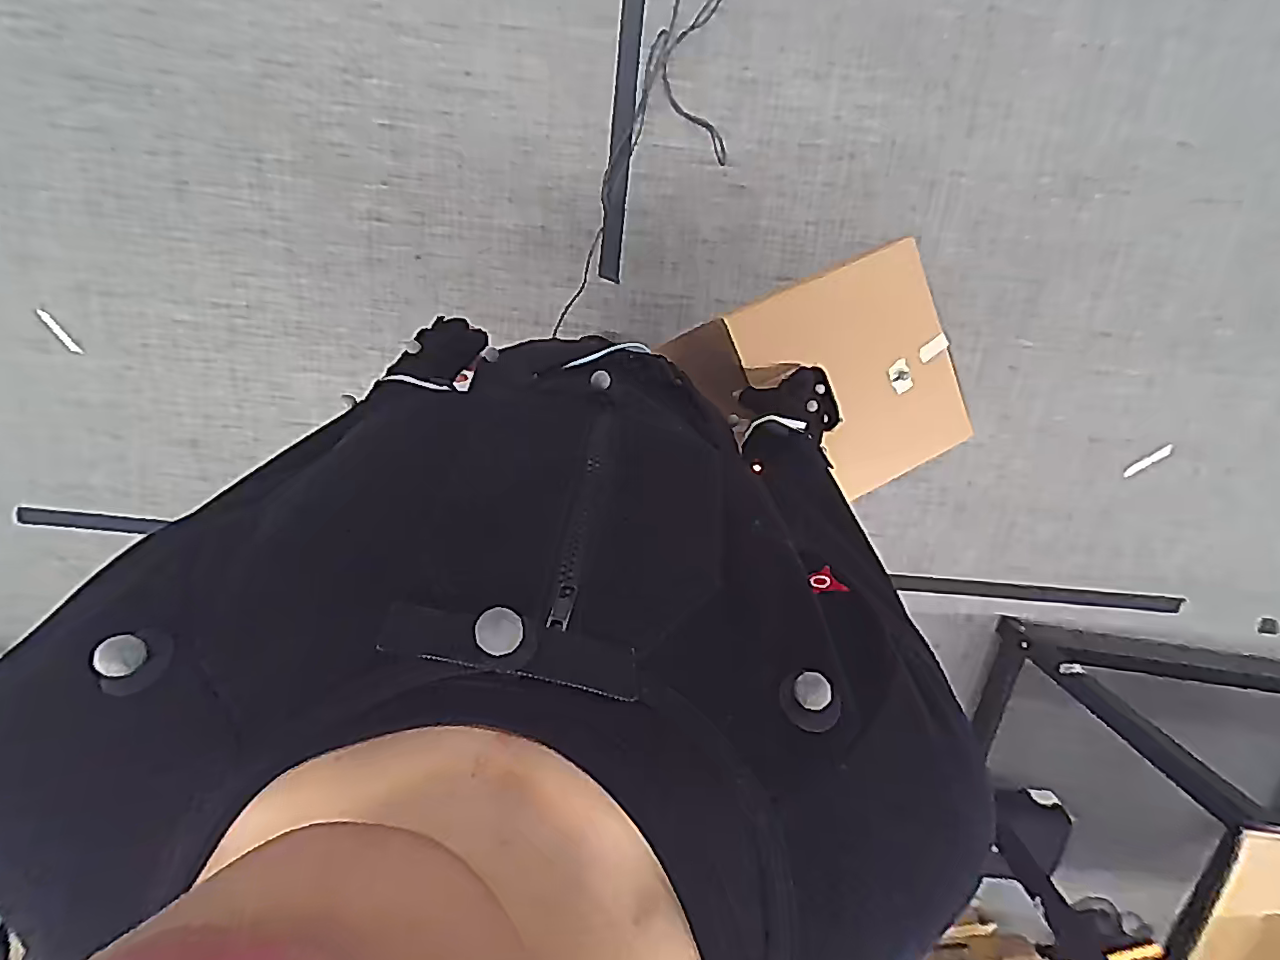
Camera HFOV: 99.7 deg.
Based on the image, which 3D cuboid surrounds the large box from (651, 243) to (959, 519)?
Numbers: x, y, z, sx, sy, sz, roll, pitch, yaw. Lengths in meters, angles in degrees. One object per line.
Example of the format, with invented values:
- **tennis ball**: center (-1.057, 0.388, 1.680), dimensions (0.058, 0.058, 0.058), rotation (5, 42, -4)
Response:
- **large box**: center (0.258, -0.163, 0.961), dimensions (0.320, 0.408, 0.320), rotation (-25, 102, -9)
